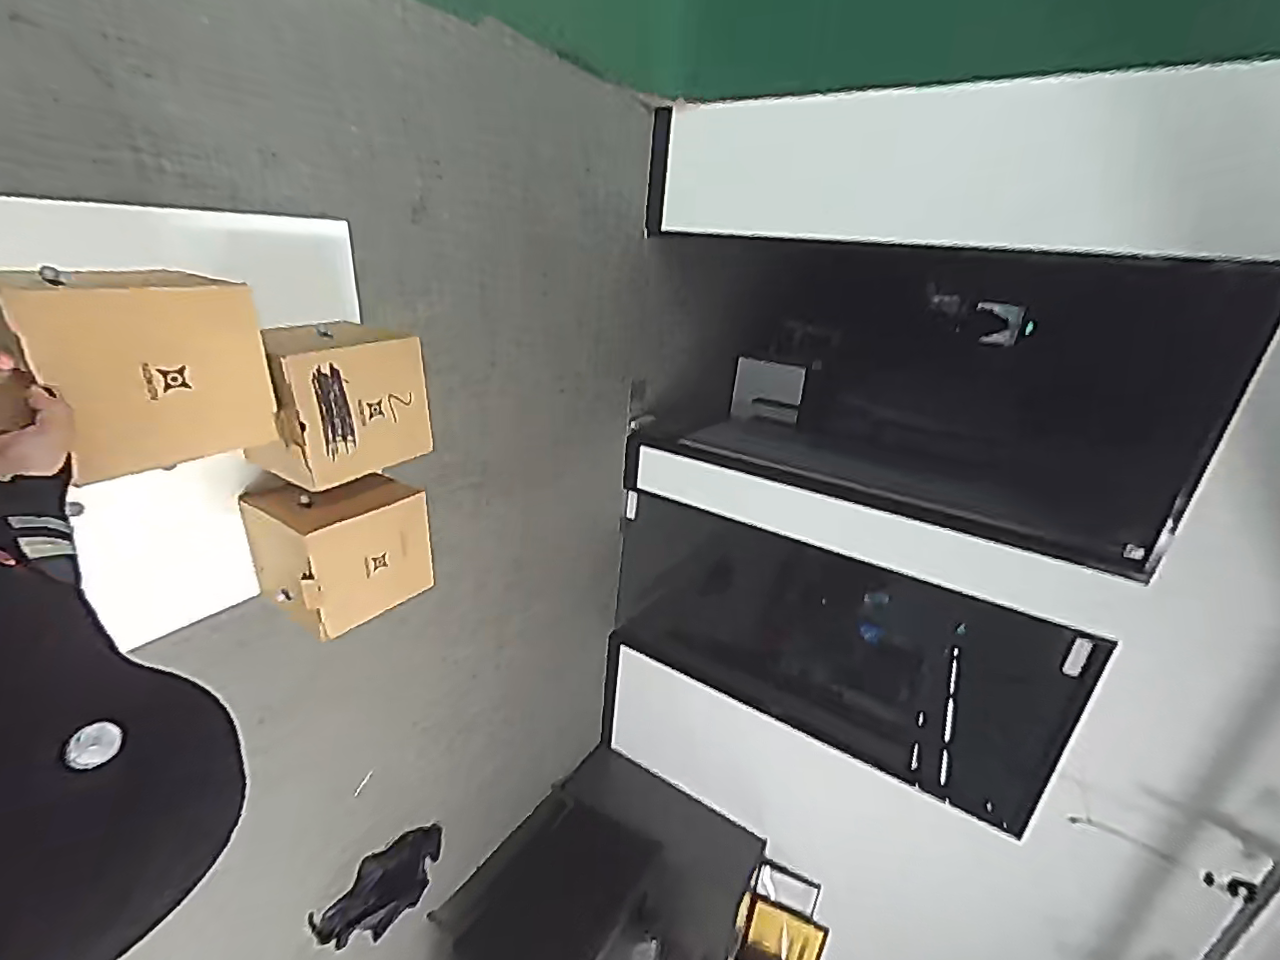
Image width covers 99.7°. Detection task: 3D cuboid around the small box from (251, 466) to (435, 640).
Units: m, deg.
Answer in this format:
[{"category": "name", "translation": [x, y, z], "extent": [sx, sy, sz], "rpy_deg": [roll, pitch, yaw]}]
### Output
[{"category": "small box", "translation": [-0.433, 0.095, 0.792], "extent": [0.179, 0.176, 0.168], "rpy_deg": [-31, 132, -52]}]
